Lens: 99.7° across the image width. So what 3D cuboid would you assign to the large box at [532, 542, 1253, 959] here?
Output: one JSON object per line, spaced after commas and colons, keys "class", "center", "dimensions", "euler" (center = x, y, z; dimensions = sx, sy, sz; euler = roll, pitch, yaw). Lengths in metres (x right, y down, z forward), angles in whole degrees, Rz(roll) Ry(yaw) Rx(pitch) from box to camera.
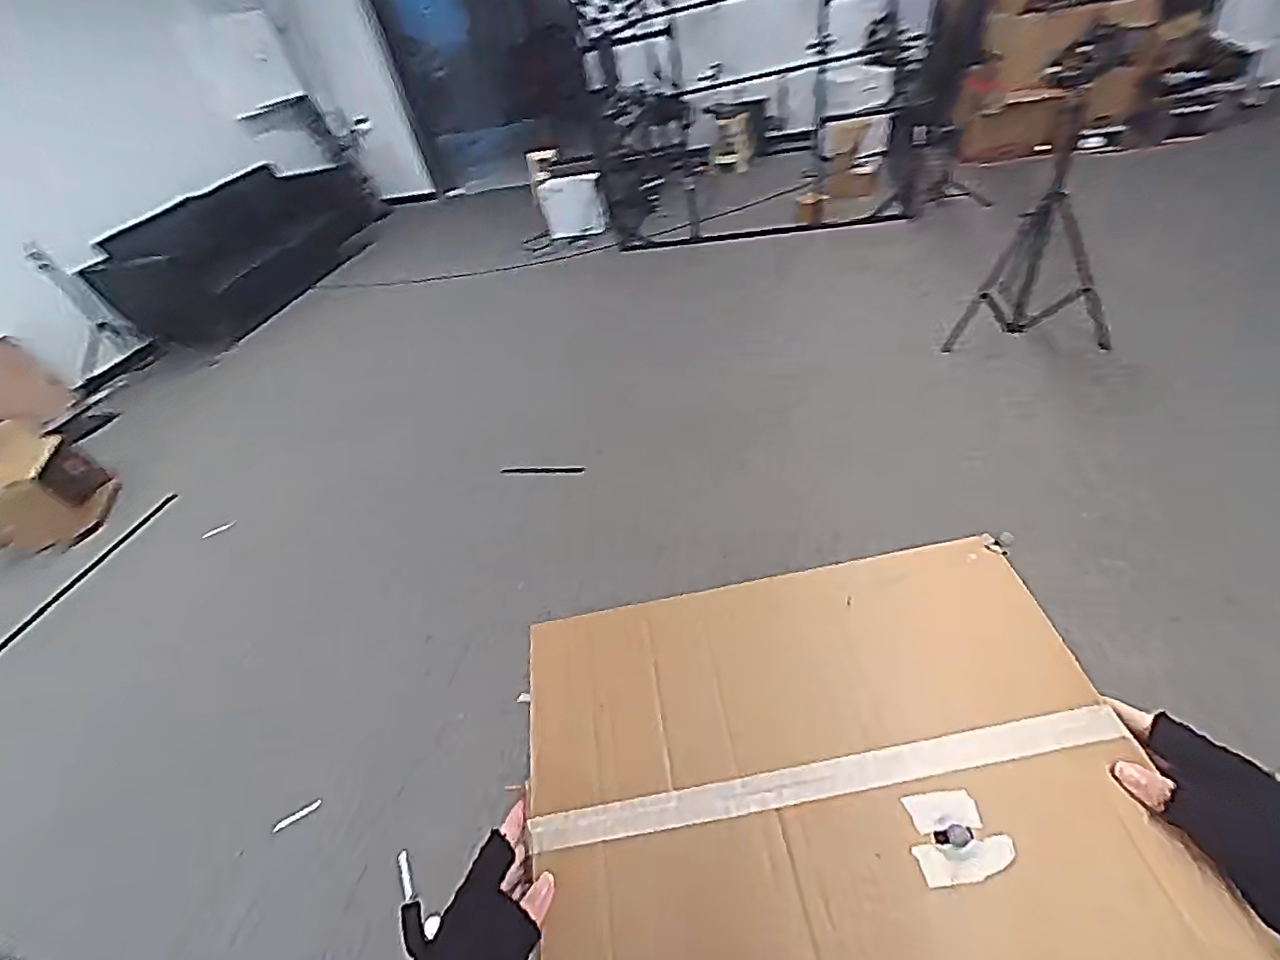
{"class": "large box", "center": [0.141, 0.306, 0.496], "dimensions": [0.408, 0.320, 0.320], "euler": [-12, 50, 0]}
